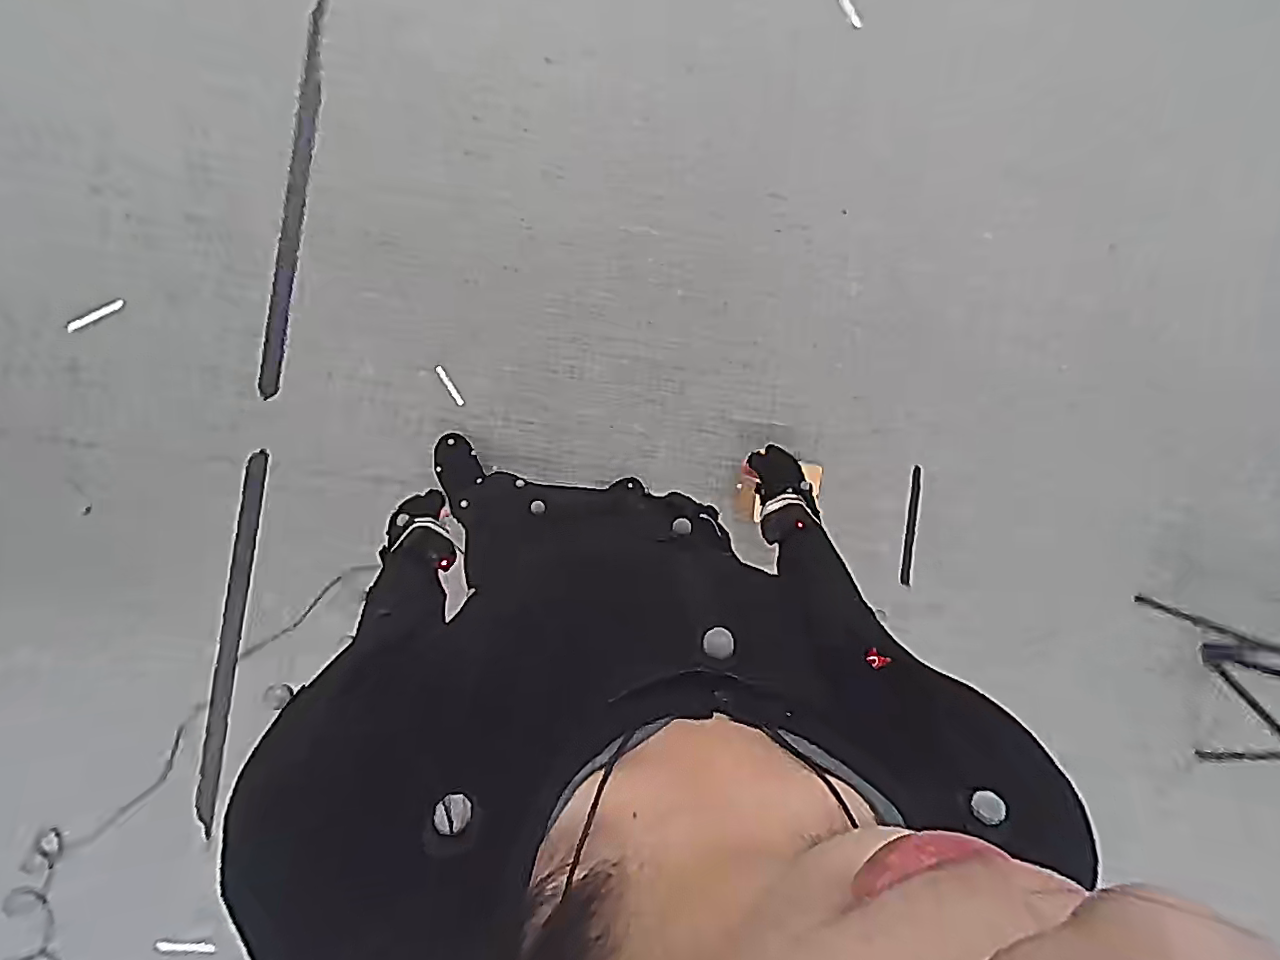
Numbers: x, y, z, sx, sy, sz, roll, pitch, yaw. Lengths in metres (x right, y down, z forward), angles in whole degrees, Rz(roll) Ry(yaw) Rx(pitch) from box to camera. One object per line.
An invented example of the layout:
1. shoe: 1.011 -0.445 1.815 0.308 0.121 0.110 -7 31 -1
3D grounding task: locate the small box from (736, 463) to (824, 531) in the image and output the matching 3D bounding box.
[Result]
1. small box: 0.380 0.042 1.486 0.179 0.176 0.168 6 90 -6
